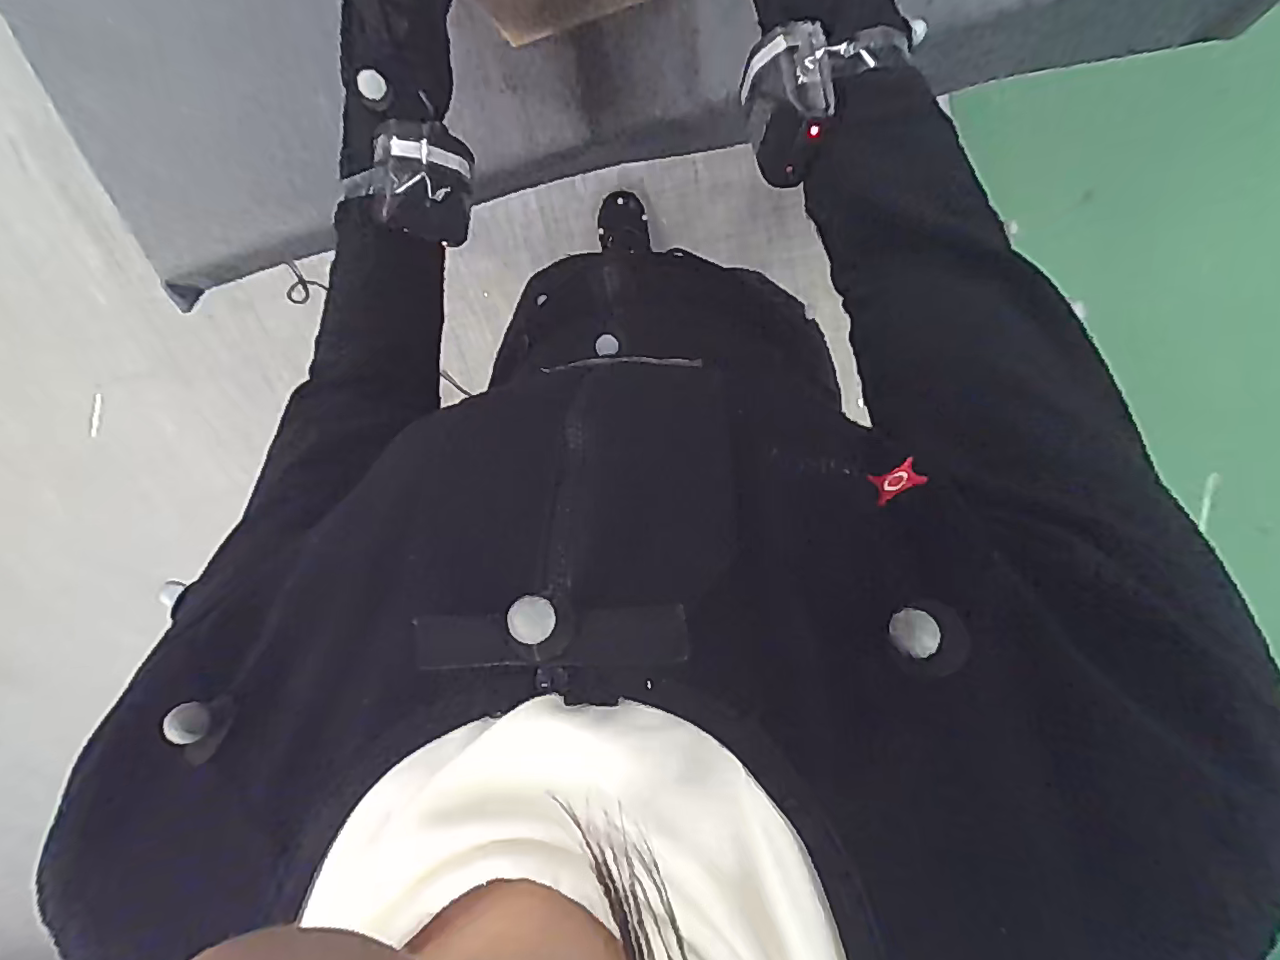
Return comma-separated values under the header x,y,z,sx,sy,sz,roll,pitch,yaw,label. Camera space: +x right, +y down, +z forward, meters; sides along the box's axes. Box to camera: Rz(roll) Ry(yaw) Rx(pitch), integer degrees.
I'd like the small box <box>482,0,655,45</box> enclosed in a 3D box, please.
x,y,z,sx,sy,sz,roll,pitch,yaw,label
-0.055,-0.465,0.396,0.179,0.176,0.168,-13,113,9,small box
